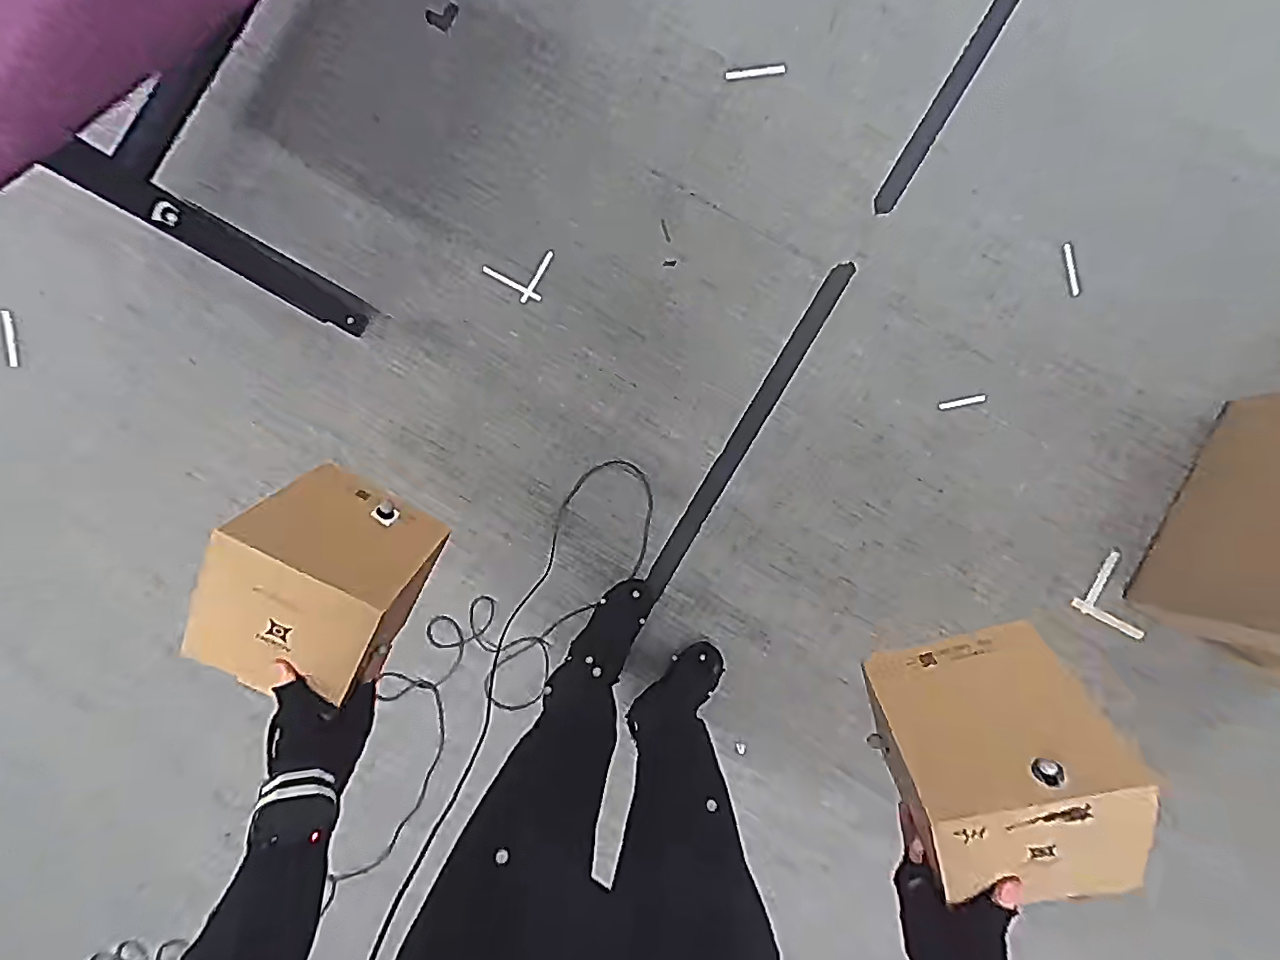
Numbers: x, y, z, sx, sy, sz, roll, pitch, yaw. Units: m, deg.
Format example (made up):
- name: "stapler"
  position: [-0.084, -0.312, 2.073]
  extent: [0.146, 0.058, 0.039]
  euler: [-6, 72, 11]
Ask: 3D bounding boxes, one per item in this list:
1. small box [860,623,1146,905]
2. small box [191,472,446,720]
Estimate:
- name: "small box"
  position: [0.337, 0.274, 0.533]
  extent: [0.168, 0.176, 0.179]
  euler: [-18, 118, 10]
- name: "small box"
  position: [-0.346, 0.121, 0.609]
  extent: [0.168, 0.176, 0.179]
  euler: [28, 112, -7]
